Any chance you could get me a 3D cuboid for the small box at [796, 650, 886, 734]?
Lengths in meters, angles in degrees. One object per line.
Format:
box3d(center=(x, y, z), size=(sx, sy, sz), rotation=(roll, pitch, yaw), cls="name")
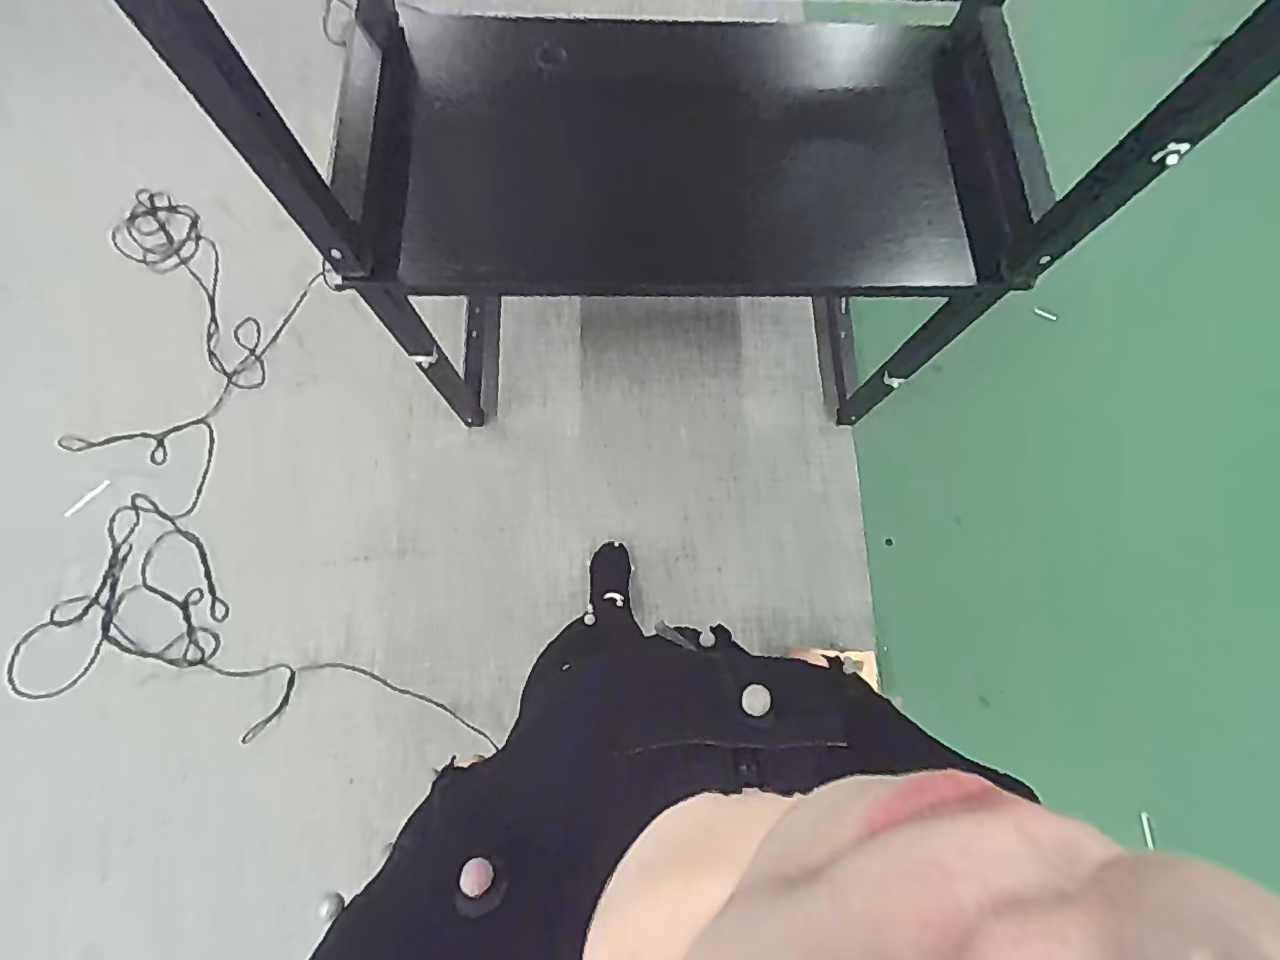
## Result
box3d(center=(0.498, 0.528, 1.365), size=(0.168, 0.176, 0.179), rotation=(3, 76, 0), cls="small box")
